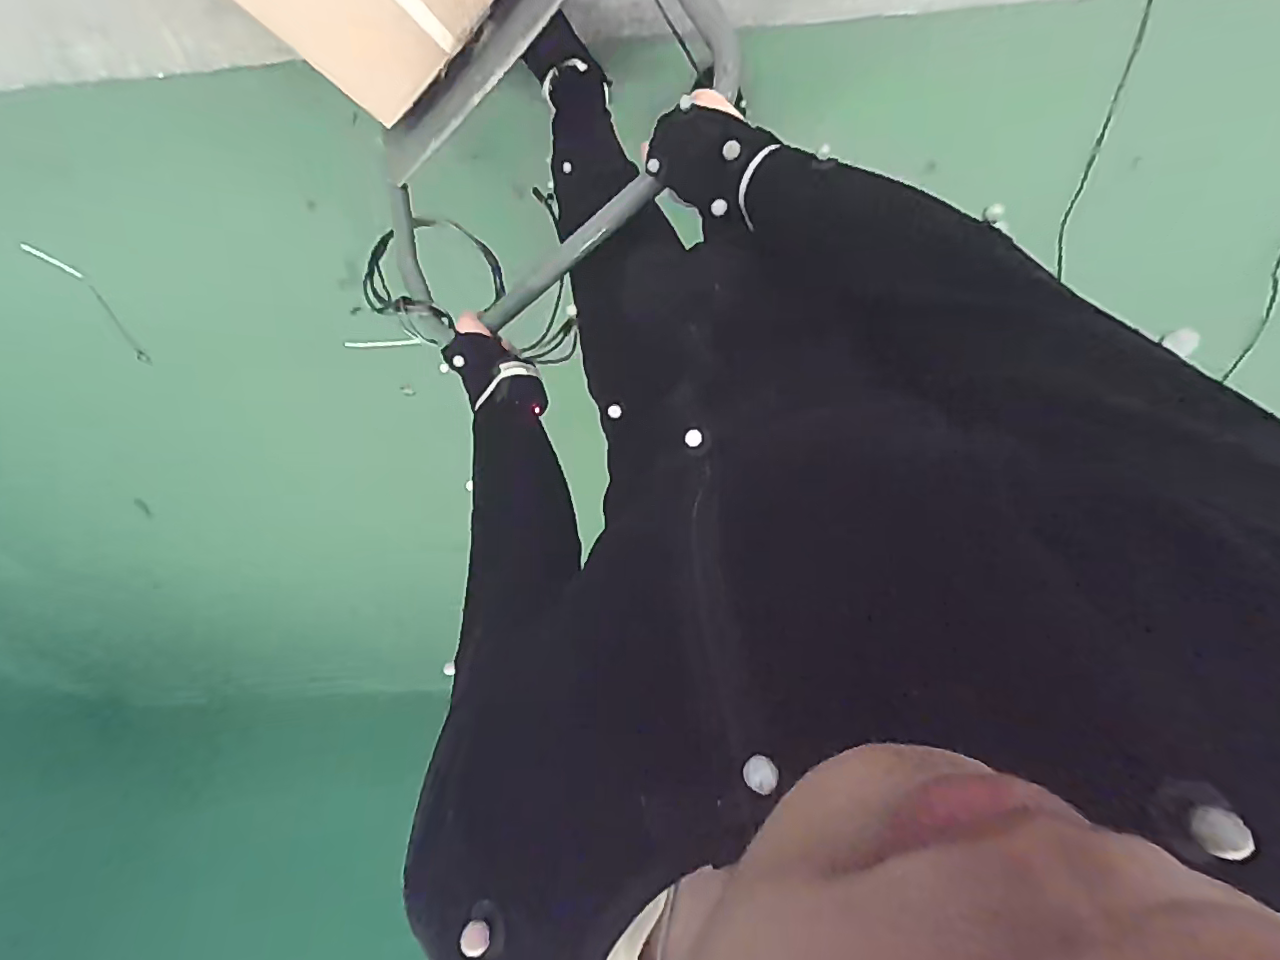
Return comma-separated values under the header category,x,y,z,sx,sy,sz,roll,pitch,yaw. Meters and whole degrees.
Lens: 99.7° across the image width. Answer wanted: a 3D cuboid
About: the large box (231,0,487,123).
category,x,y,z,sx,sy,sz,roll,pitch,yaw
large box,-0.409,-0.779,0.669,0.320,0.320,0.408,-30,148,26
